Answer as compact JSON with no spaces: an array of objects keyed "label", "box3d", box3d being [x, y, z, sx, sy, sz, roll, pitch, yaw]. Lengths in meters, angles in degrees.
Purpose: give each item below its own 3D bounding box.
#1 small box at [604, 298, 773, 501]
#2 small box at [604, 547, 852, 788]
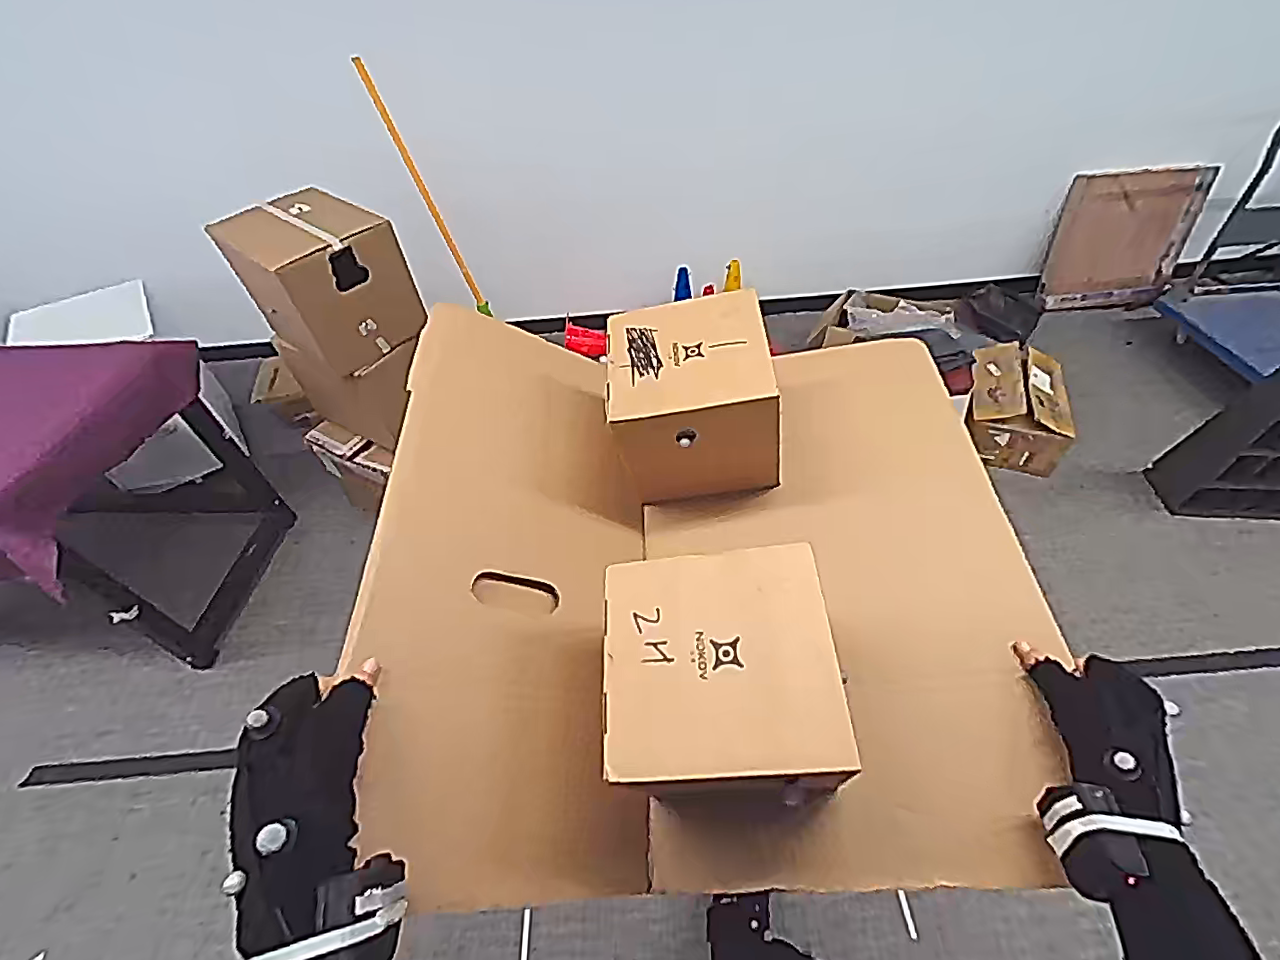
[{"label":"small box","box3d":[0.062,-0.088,0.661,0.179,0.176,0.168,-8,56,9]},{"label":"small box","box3d":[0.073,0.176,0.485,0.179,0.176,0.168,-8,56,10]}]
